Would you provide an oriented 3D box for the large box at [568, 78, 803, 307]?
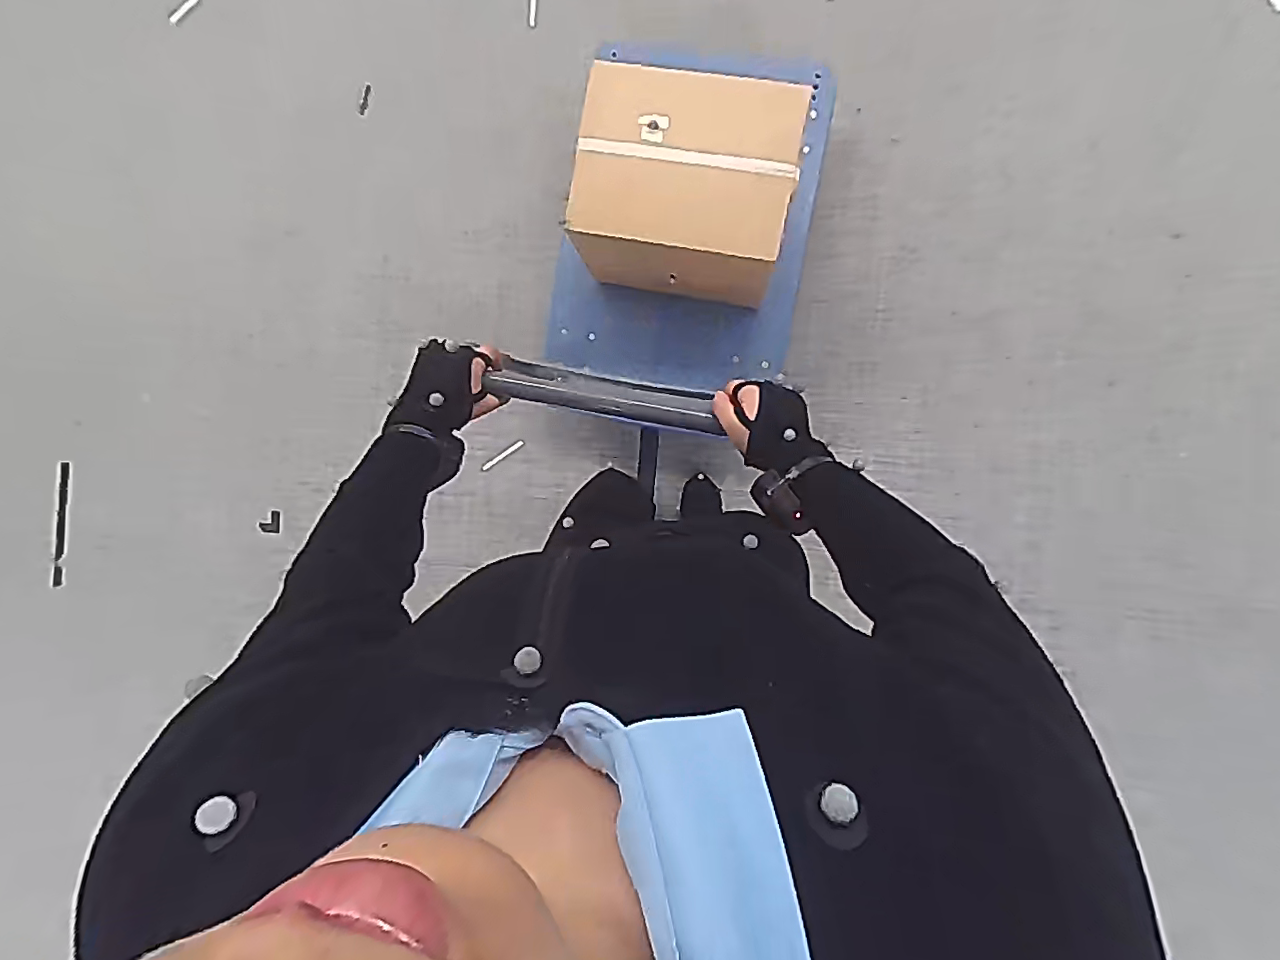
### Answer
[{"bbox_3d":[0.101,-0.586,1.158,0.408,0.320,0.320,11,92,7],"label":"large box"}]
